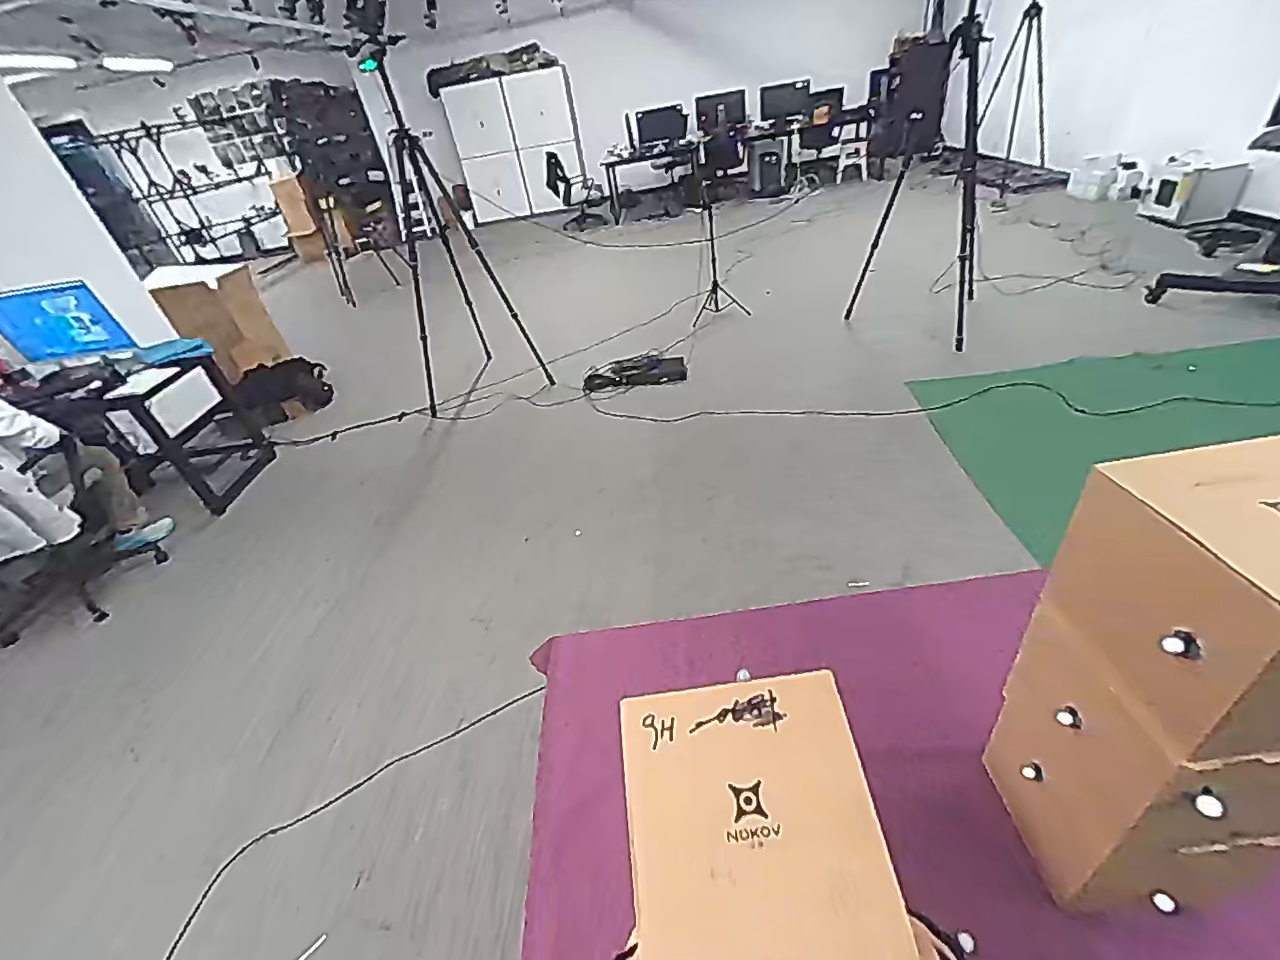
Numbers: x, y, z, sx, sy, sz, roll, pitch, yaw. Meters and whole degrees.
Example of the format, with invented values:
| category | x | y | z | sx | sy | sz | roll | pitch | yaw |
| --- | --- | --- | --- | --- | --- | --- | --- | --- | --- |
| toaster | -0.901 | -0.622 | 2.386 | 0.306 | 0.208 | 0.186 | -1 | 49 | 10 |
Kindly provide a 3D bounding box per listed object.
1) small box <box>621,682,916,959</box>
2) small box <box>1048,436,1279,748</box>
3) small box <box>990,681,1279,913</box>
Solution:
| category | x | y | z | sx | sy | sz | roll | pitch | yaw |
| --- | --- | --- | --- | --- | --- | --- | --- | --- | --- |
| small box | 0.085 | 0.277 | 0.422 | 0.168 | 0.176 | 0.179 | -9 | 55 | 2 |
| small box | 0.481 | 0.091 | 0.432 | 0.168 | 0.176 | 0.179 | -9 | 35 | 3 |
| small box | 0.537 | 0.356 | 0.616 | 0.168 | 0.176 | 0.179 | -8 | 36 | 6 |
